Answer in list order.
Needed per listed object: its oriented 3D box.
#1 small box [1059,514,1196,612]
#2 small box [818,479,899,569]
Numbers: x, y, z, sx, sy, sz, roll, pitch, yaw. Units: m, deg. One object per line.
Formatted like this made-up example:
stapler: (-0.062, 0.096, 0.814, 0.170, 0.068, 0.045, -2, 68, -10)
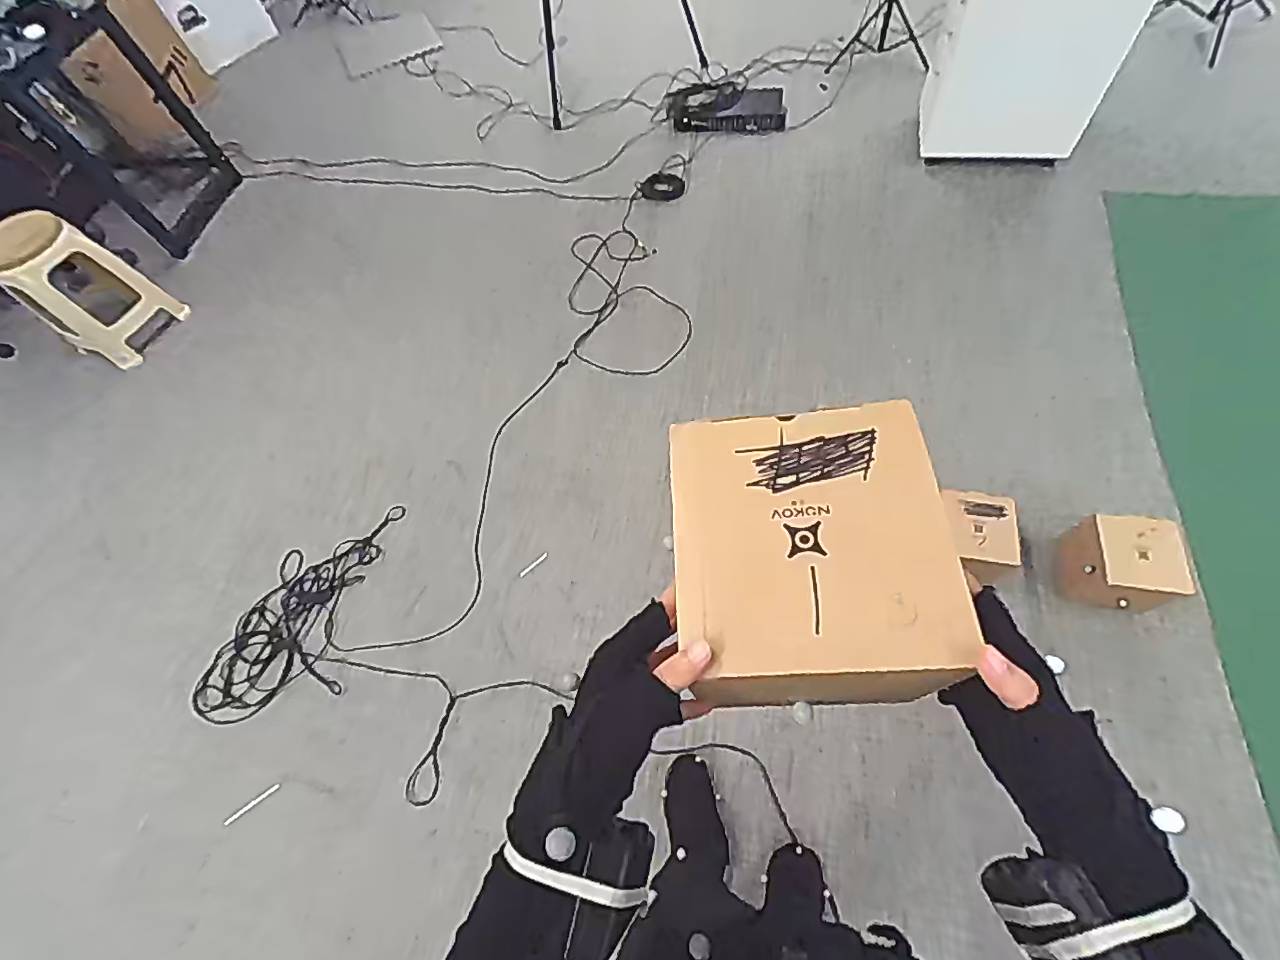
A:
small box: (1.128, 0.200, 1.269, 0.168, 0.176, 0.179, 7, 63, 11)
small box: (0.558, 0.117, 1.393, 0.168, 0.176, 0.179, 6, 63, 12)
